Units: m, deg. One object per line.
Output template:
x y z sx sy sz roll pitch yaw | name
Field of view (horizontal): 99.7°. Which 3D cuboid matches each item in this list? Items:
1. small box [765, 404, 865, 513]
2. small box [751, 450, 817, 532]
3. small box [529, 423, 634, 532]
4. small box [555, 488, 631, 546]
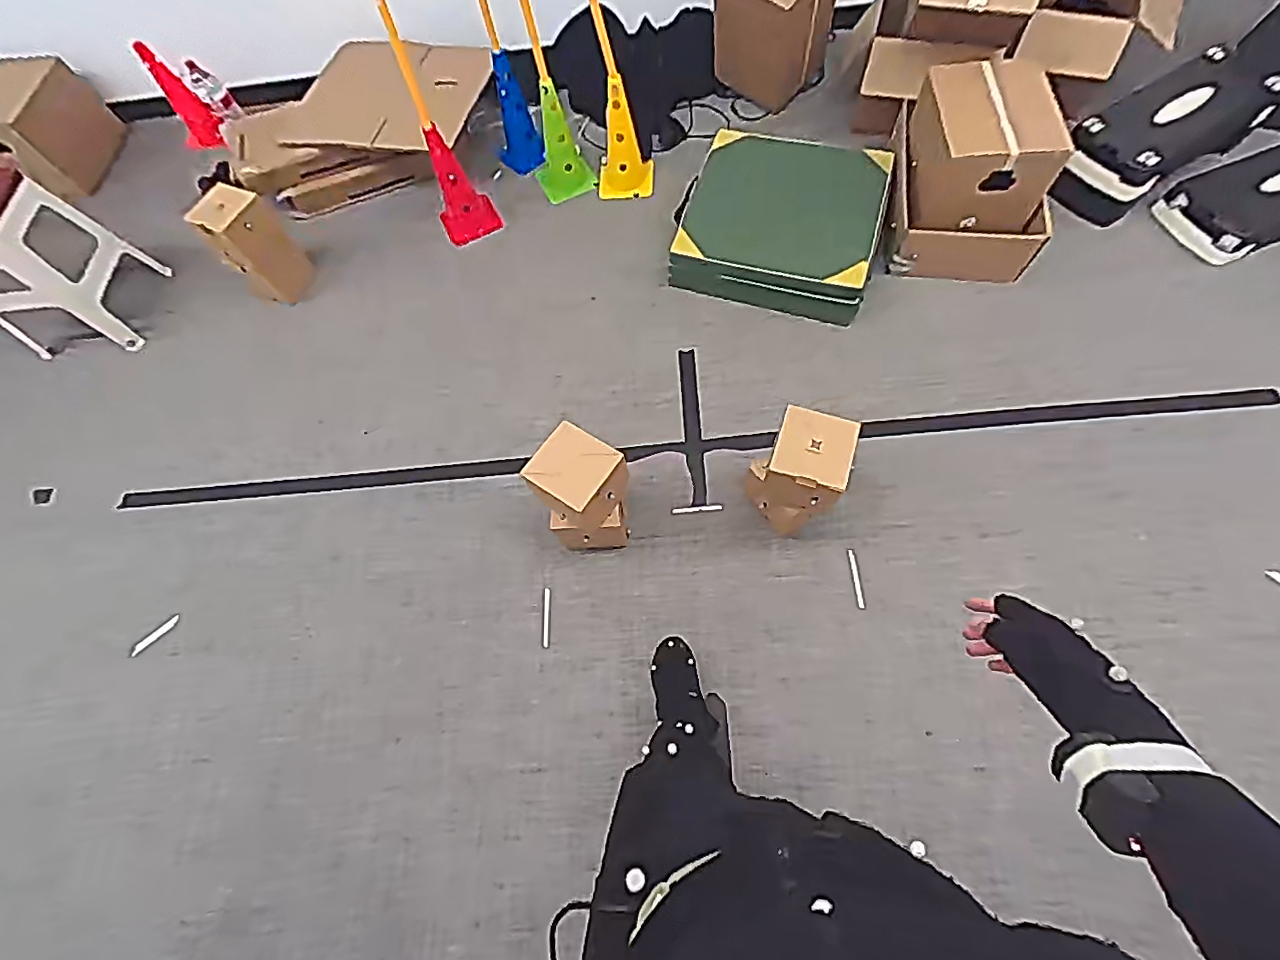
0.396 -0.044 1.249 0.168 0.176 0.179 18 69 11 | small box
0.405 0.010 1.407 0.179 0.176 0.168 -35 68 -10 | small box
-0.136 -0.004 1.283 0.179 0.176 0.168 28 71 15 | small box
-0.116 0.073 1.431 0.179 0.176 0.168 -3 66 6 | small box
